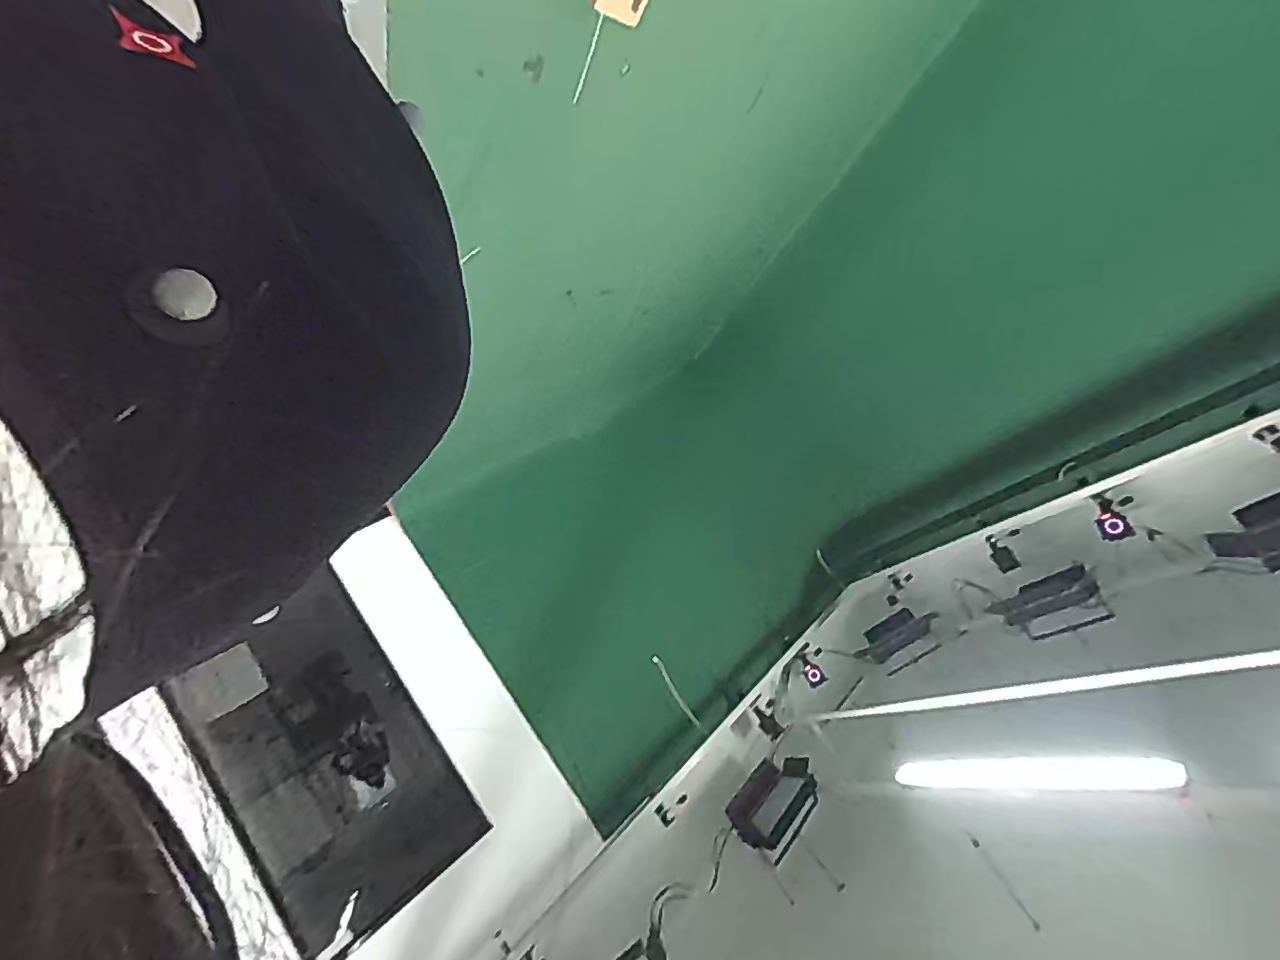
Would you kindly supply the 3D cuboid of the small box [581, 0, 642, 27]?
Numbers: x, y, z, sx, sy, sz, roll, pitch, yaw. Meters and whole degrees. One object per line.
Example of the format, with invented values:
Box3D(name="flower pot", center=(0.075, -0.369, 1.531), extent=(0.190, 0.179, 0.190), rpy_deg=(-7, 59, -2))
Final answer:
Box3D(name="small box", center=(-0.088, -1.353, 1.418), extent=(0.179, 0.176, 0.168), rpy_deg=(-26, 166, -46))
